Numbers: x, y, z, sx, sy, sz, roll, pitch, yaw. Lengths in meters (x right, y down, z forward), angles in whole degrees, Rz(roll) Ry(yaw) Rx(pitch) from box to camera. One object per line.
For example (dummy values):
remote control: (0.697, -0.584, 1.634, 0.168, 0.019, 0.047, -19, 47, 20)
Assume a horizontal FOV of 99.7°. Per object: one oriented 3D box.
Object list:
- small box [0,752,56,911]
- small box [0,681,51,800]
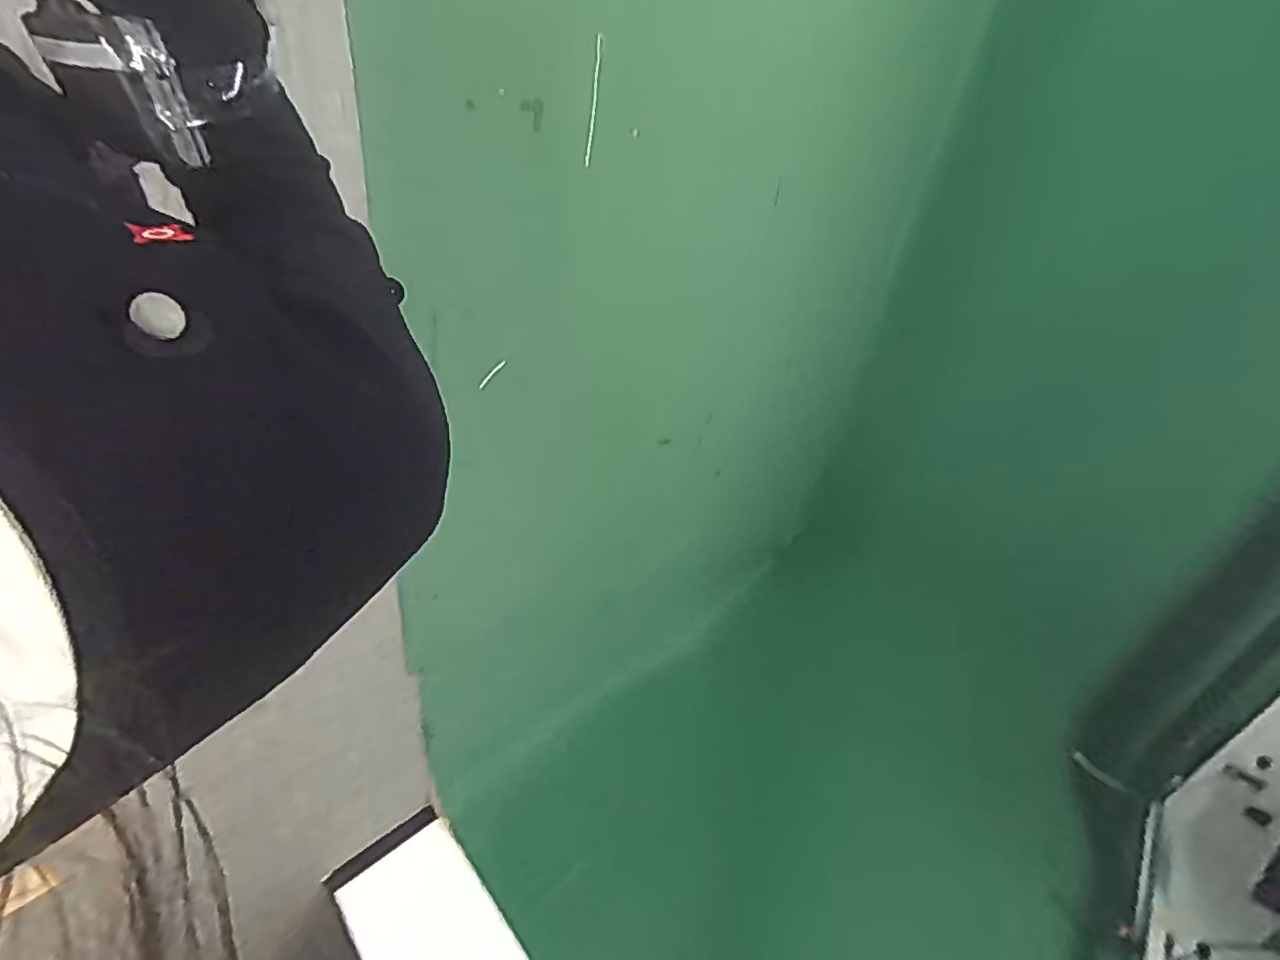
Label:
small box: (-1.000, 0.530, 0.776, 0.168, 0.176, 0.179, -25, 132, -39)
small box: (-1.114, 0.463, 0.873, 0.179, 0.176, 0.168, -23, 131, -39)
